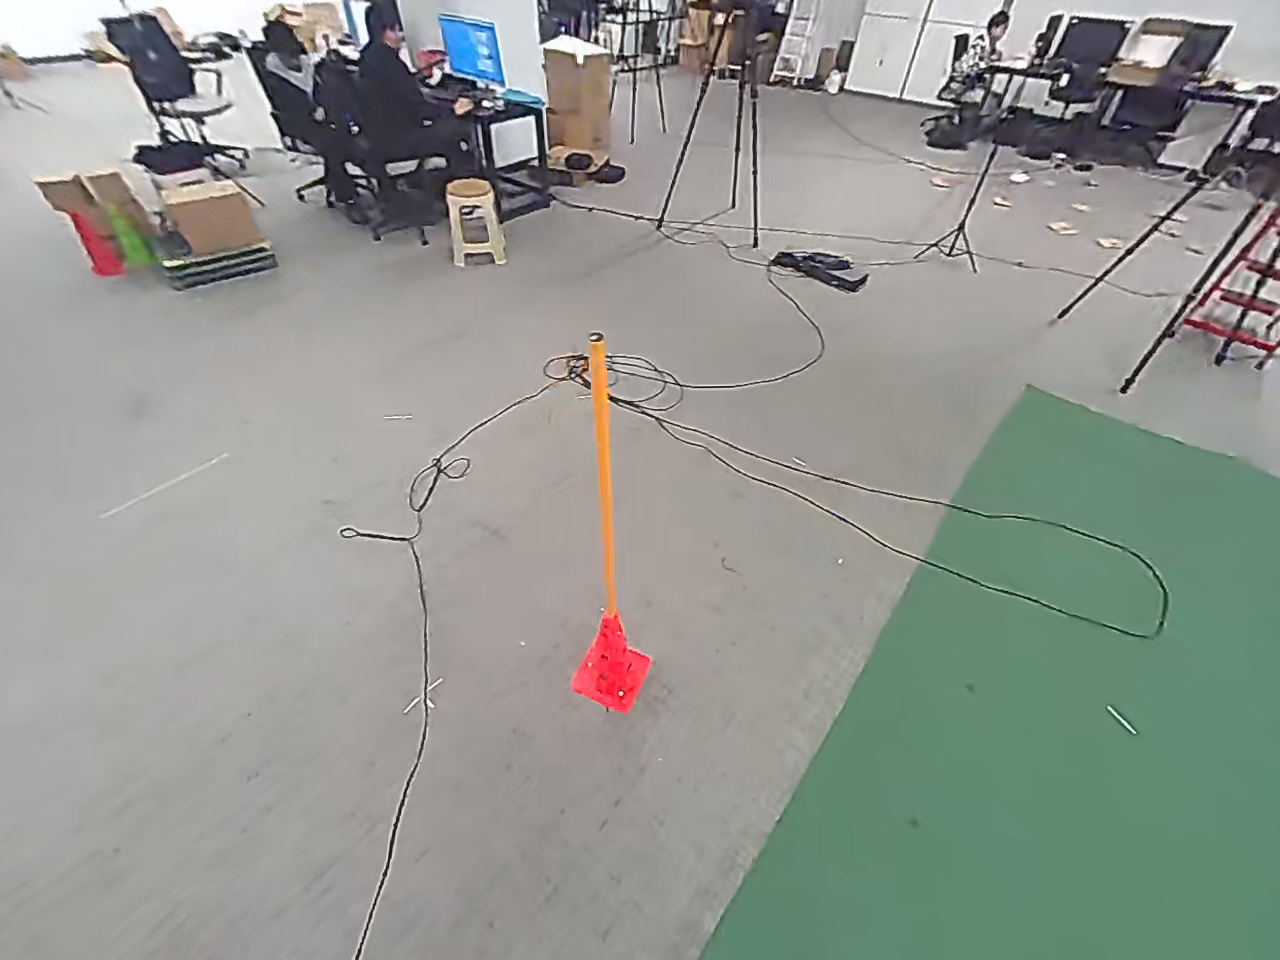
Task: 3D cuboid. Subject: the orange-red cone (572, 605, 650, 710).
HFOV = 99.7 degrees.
[{"bbox_3d":[-0.081,0.473,1.566,0.198,0.360,0.199,20,46,15],"label":"orange-red cone"}]
